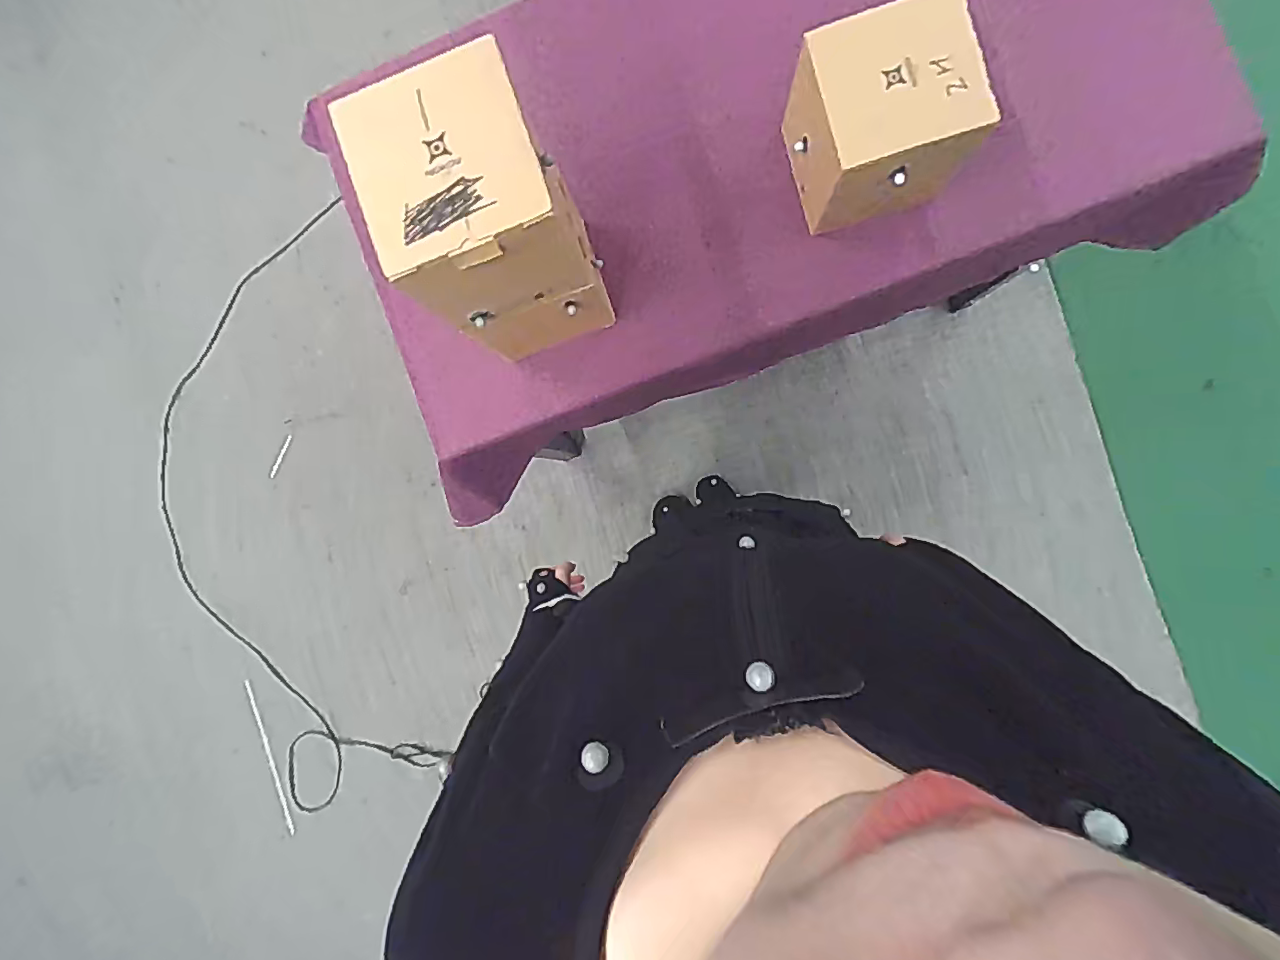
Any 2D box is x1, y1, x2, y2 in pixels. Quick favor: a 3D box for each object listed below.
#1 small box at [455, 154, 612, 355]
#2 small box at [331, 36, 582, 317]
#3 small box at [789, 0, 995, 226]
[{"bbox_3d":[-0.152,-0.286,0.730,0.179,0.176,0.168,-19,88,6],"label":"small box"},{"bbox_3d":[-0.174,-0.290,0.567,0.168,0.176,0.179,-19,87,6],"label":"small box"},{"bbox_3d":[0.293,-0.450,0.676,0.179,0.176,0.168,-15,89,6],"label":"small box"}]
